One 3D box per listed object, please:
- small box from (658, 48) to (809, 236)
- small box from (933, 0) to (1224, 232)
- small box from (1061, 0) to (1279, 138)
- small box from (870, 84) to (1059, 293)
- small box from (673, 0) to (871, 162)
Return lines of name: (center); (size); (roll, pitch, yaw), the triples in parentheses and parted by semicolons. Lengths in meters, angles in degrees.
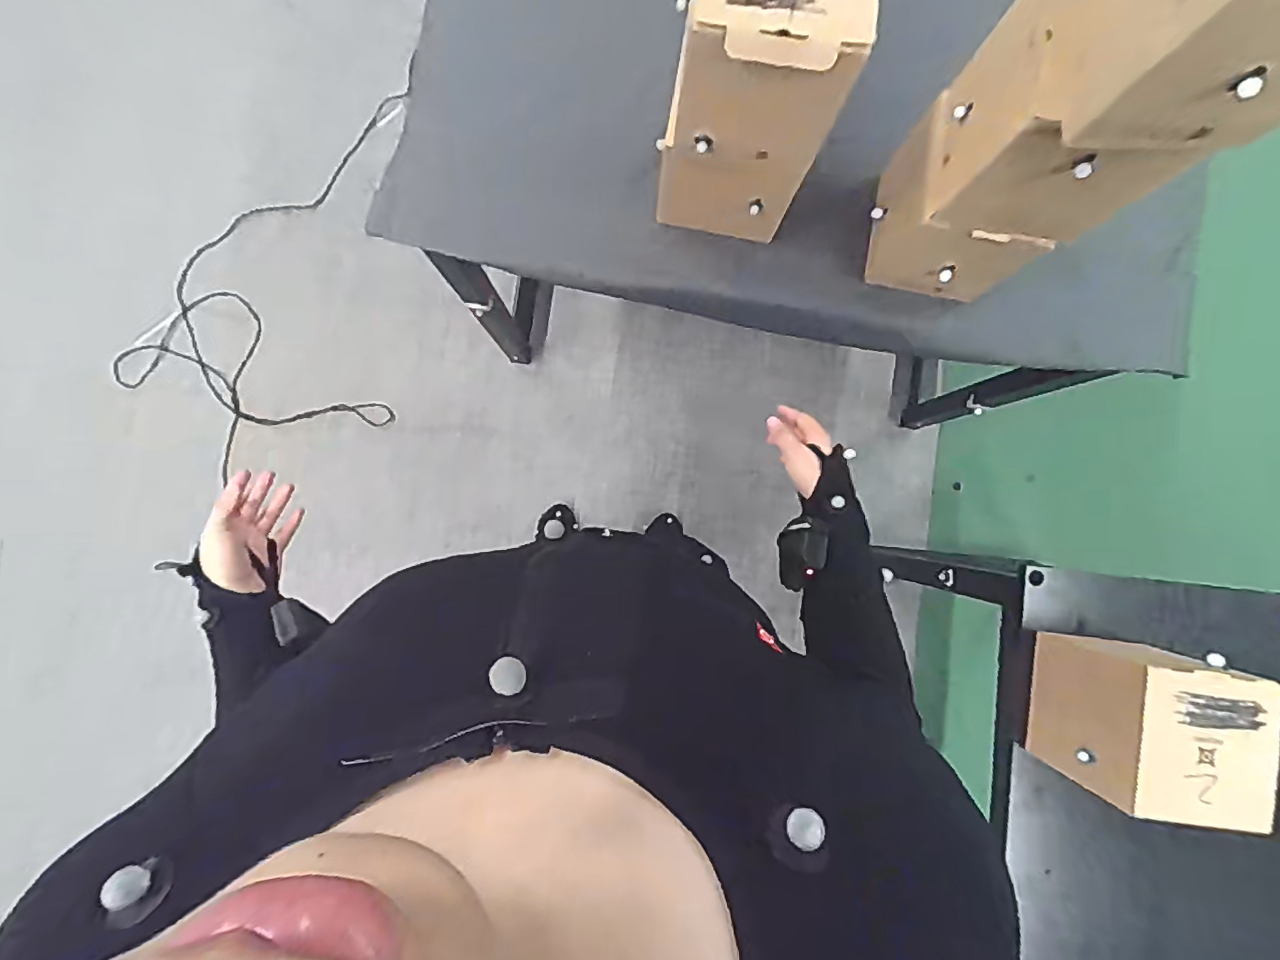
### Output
small box: (0.125, -0.453, 0.725); (0.179, 0.176, 0.168); (10, 85, 0)
small box: (0.442, -0.383, 0.562); (0.179, 0.176, 0.168); (8, 86, 0)
small box: (0.451, -0.386, 0.396); (0.168, 0.176, 0.179); (0, 86, -1)
small box: (0.430, -0.373, 0.724); (0.168, 0.176, 0.179); (10, 86, 0)
small box: (0.128, -0.468, 0.562); (0.168, 0.176, 0.179); (6, 84, -1)
